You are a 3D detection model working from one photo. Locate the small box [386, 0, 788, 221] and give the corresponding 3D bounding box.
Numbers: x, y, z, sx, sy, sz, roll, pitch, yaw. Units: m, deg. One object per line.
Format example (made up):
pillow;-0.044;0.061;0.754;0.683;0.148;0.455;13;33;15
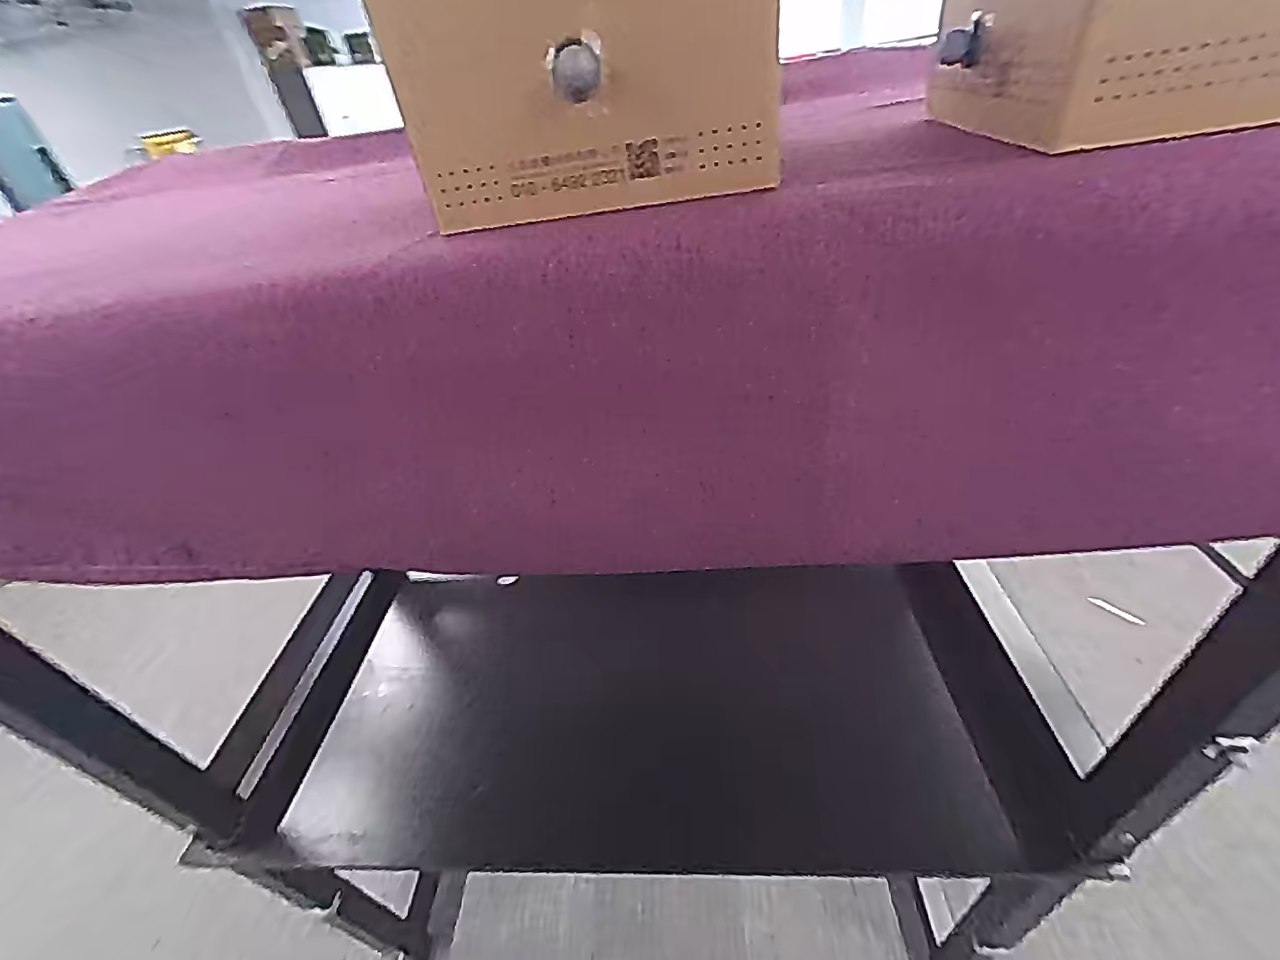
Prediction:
small box;-0.023;-0.242;0.272;0.168;0.176;0.179;-6;37;5
